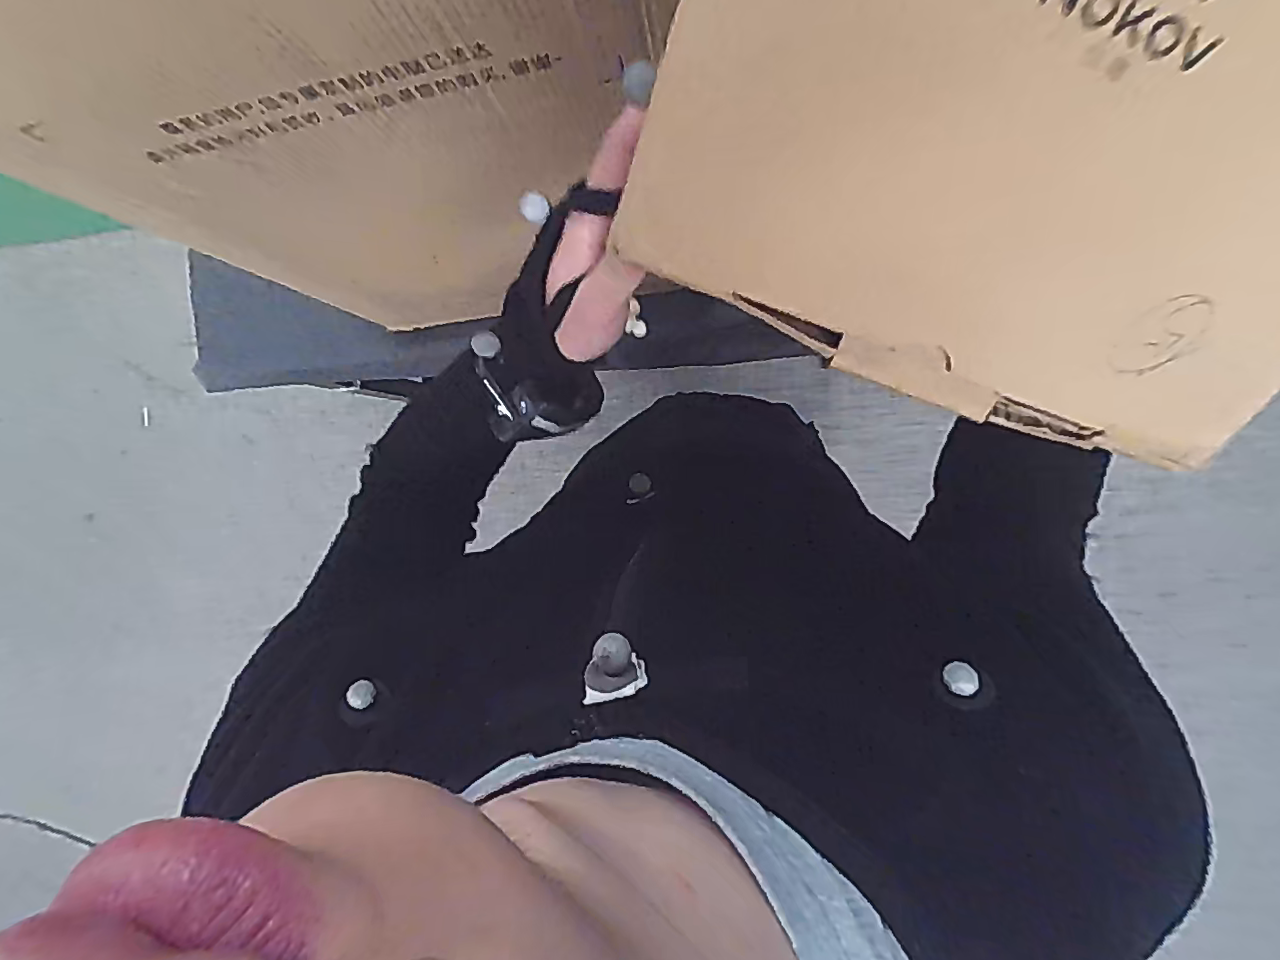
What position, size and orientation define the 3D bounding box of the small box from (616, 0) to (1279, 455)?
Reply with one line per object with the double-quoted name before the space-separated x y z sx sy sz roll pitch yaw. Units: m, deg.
"small box" 0.101 -0.138 0.167 0.168 0.176 0.179 17 116 -8
